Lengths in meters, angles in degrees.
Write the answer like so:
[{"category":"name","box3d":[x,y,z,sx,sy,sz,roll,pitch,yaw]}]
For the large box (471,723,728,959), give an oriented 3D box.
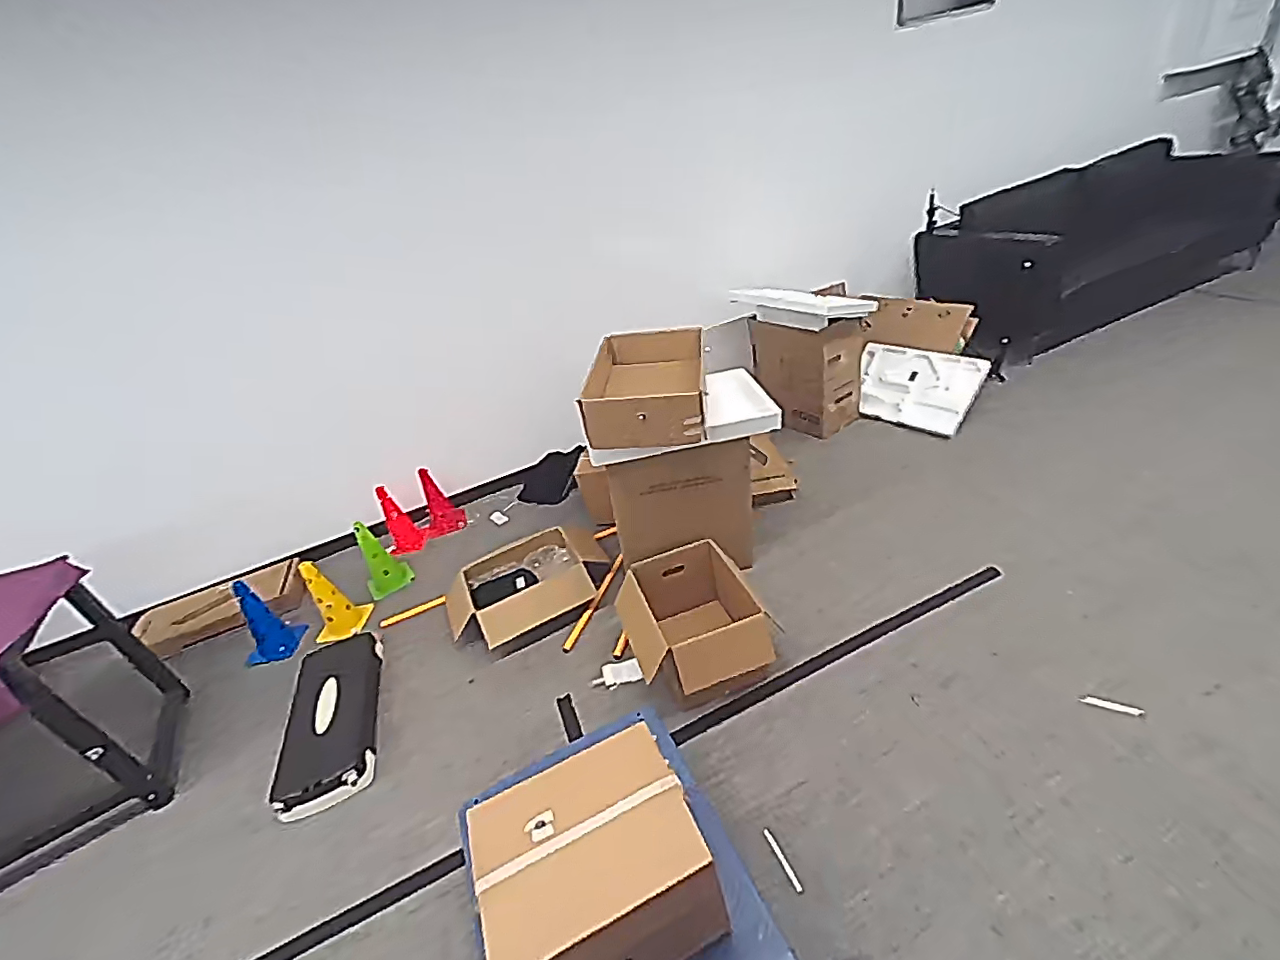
[{"category":"large box","box3d":[-0.080,0.798,1.108,0.408,0.320,0.320,-23,32,-14]}]
